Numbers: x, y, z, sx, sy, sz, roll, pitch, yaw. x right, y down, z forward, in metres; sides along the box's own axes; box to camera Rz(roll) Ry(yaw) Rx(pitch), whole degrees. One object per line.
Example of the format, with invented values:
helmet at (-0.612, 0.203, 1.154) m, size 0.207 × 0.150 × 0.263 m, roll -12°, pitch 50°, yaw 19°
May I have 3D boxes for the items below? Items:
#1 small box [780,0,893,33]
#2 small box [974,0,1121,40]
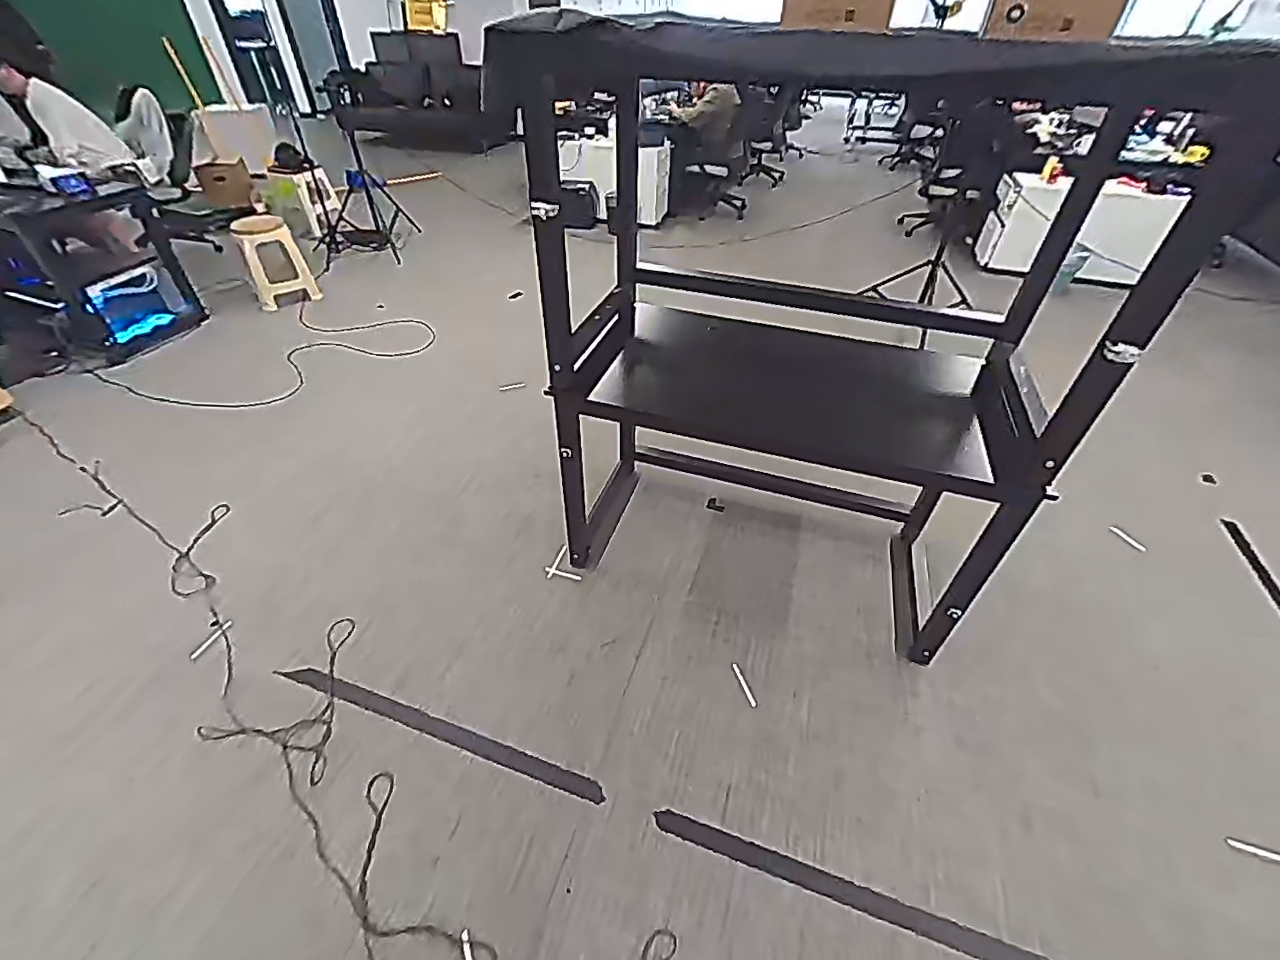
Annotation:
small box at (0.325, -0.815, 0.847) m, size 0.168 × 0.176 × 0.179 m, roll 14°, pitch 41°, yaw 14°
small box at (0.610, -0.750, 0.785) m, size 0.168 × 0.176 × 0.179 m, roll 16°, pitch 42°, yaw 16°
